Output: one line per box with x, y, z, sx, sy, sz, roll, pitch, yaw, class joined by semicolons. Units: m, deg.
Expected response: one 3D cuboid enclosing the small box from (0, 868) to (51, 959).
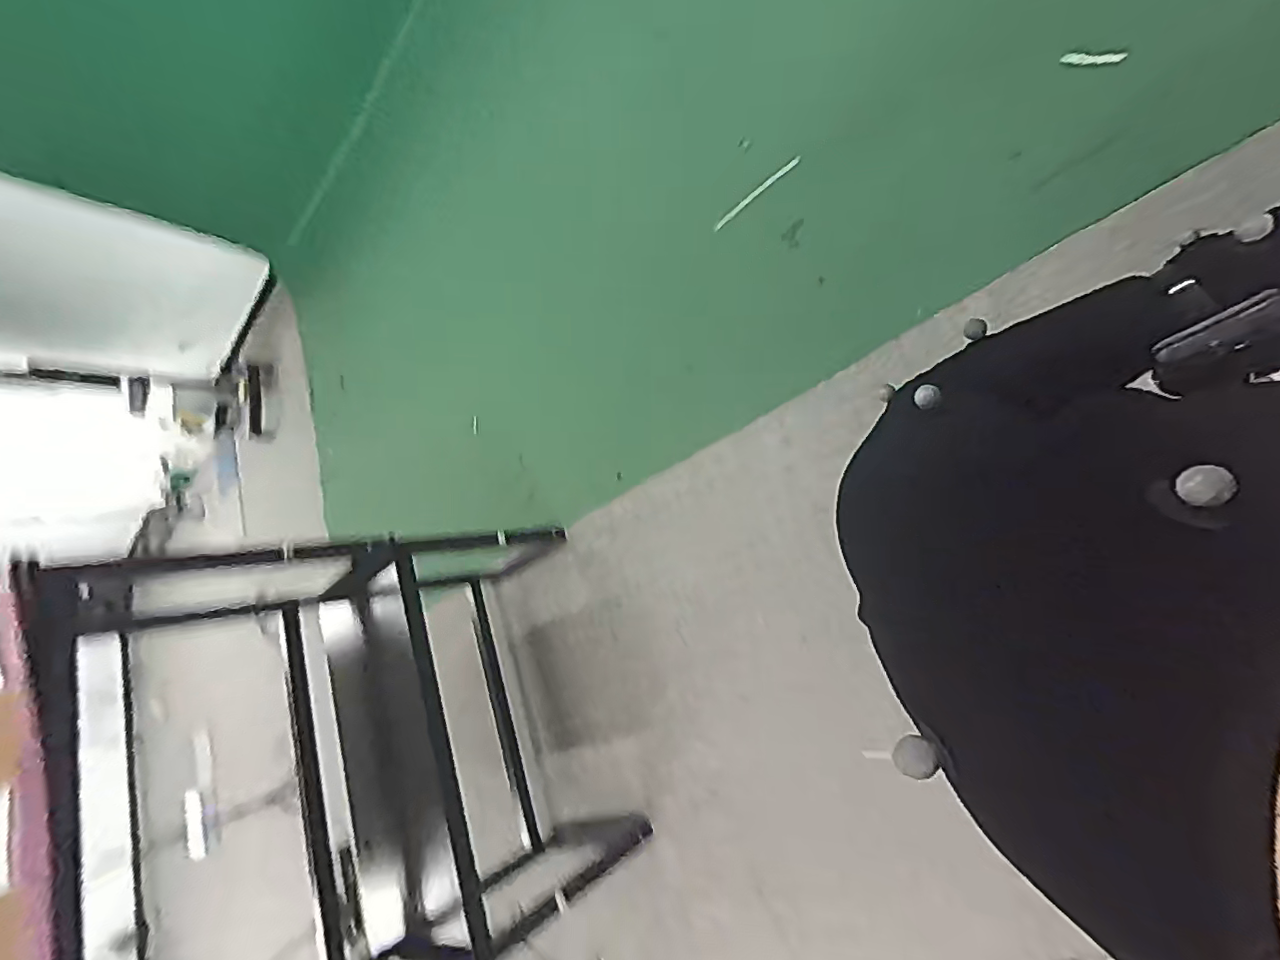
-1.144;0.797;0.924;0.168;0.176;0.179;-32;71;35;small box

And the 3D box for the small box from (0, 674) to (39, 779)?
-1.273;0.490;1.028;0.168;0.176;0.179;-30;71;37;small box
